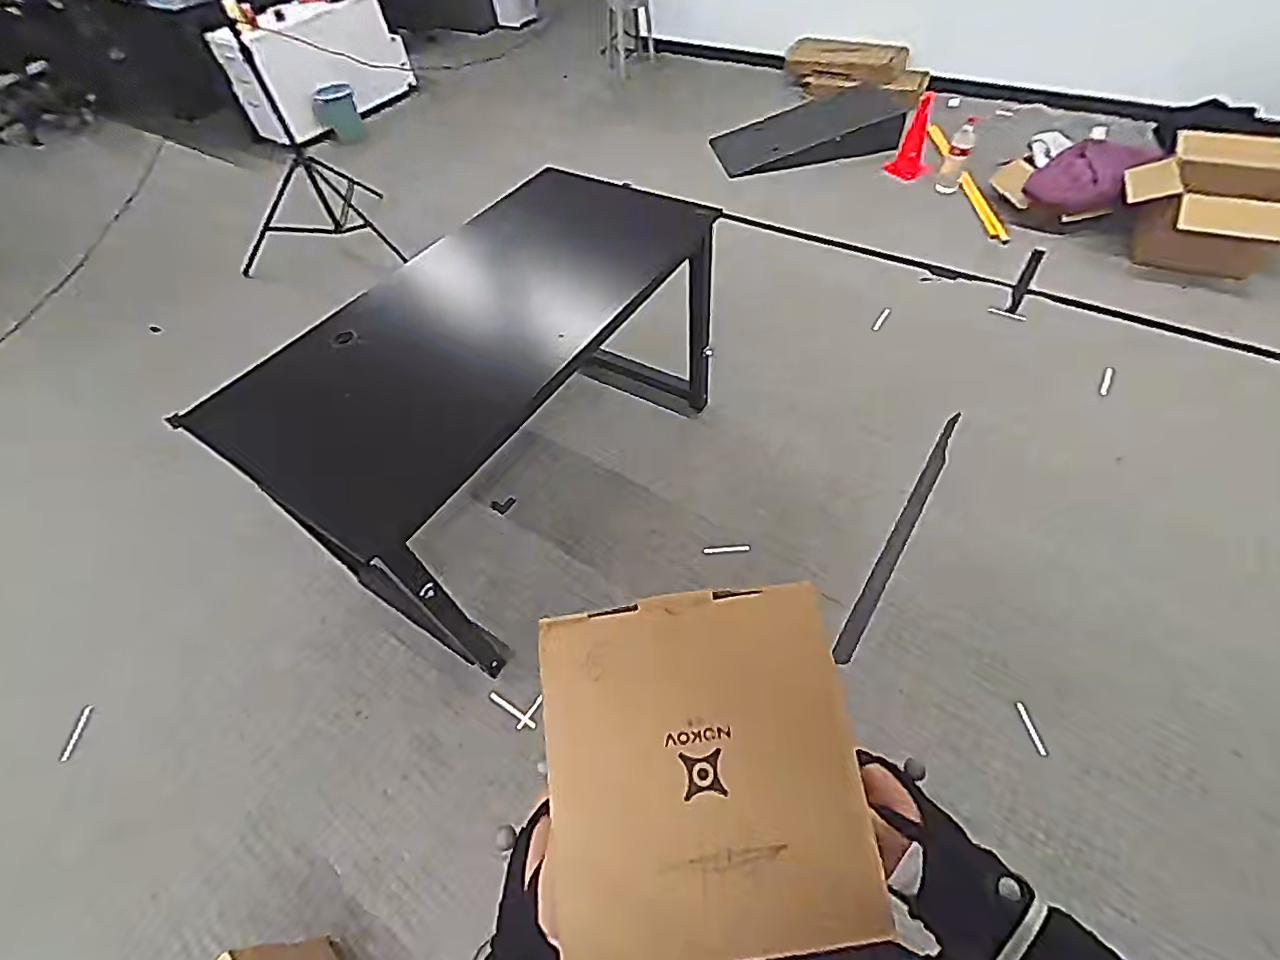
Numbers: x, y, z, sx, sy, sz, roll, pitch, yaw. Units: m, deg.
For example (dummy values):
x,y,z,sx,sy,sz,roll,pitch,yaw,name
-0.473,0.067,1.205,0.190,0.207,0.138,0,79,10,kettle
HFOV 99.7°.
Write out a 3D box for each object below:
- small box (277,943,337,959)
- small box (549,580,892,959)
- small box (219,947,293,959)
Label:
x,y,z,sx,sy,sz,roll,pitch,yaw,name
-0.679,1.036,1.035,0.179,0.176,0.168,35,64,26,small box
0.037,0.175,0.368,0.168,0.176,0.179,-8,72,0,small box
-0.681,0.934,0.906,0.168,0.176,0.179,31,62,26,small box
